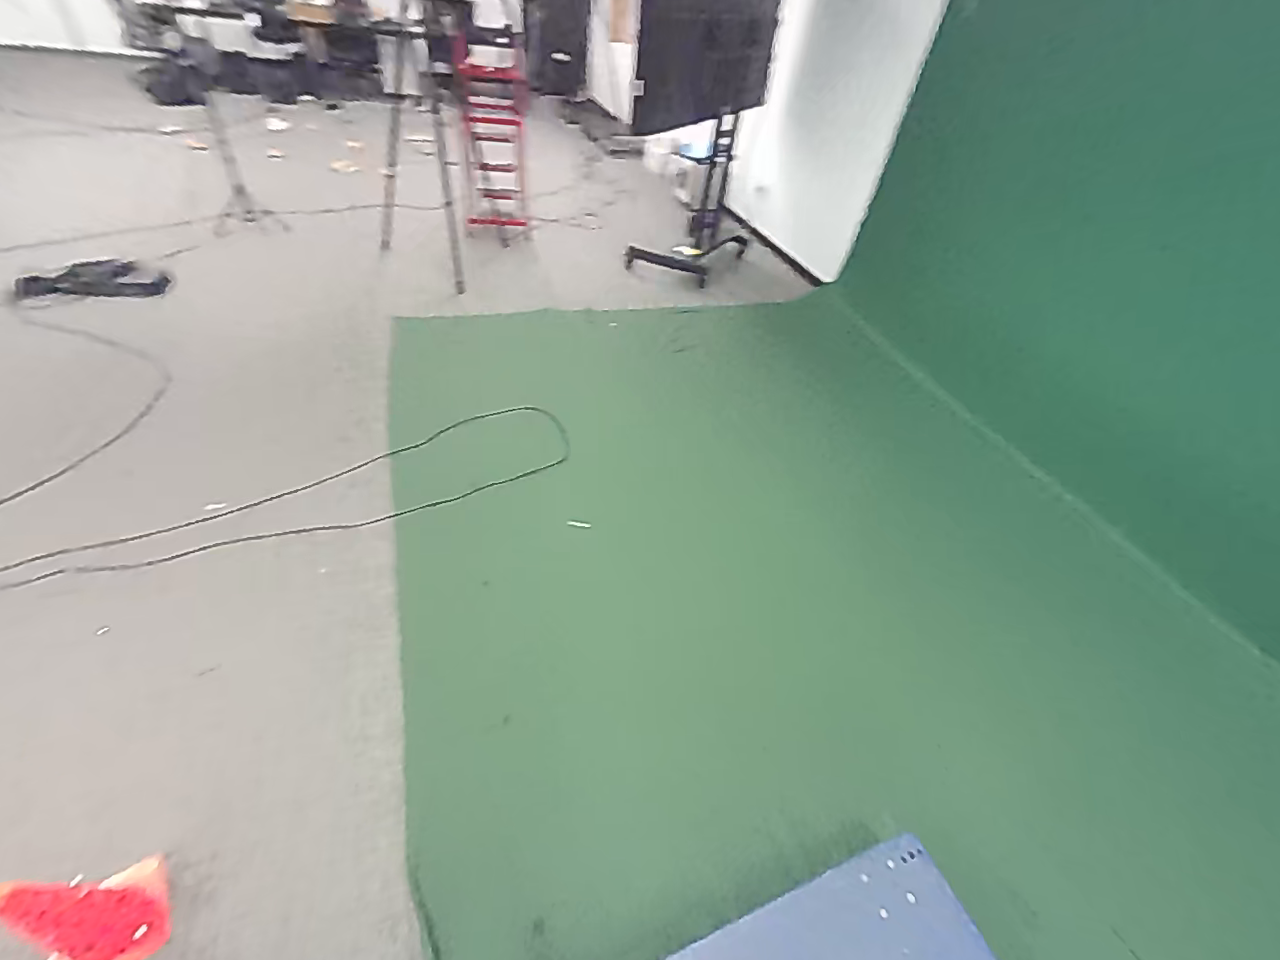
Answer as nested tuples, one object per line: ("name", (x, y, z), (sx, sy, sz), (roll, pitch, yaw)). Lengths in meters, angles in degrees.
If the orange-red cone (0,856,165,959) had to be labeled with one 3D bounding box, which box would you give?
("orange-red cone", (-1.131, 0.837, 1.053), (0.198, 0.360, 0.199), (-20, 50, -28))
